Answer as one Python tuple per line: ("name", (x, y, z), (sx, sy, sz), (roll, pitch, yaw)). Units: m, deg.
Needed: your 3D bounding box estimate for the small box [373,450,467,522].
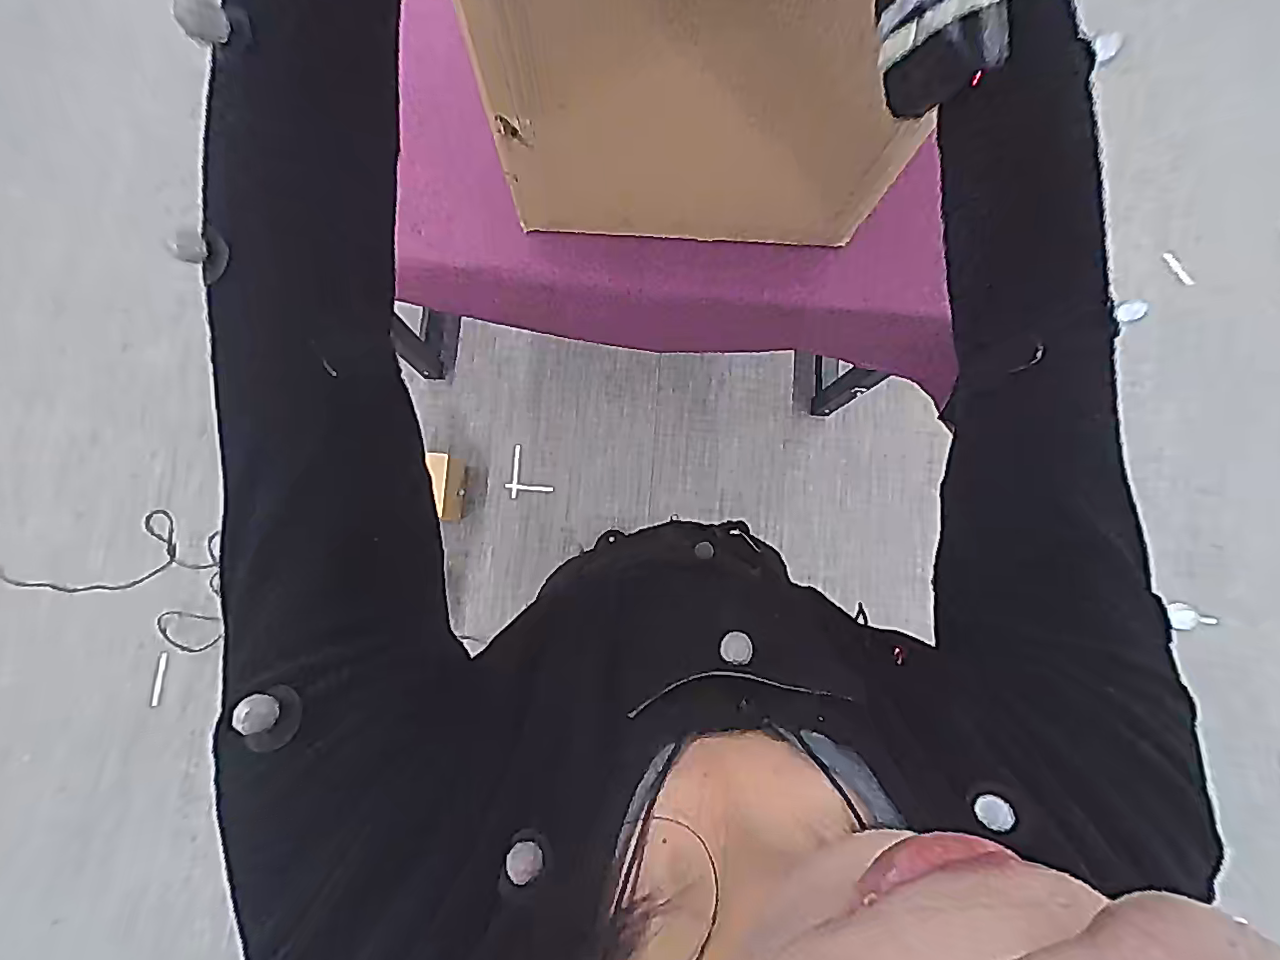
("small box", (-0.577, 0.021, 1.434), (0.179, 0.176, 0.168), (3, 83, -2))
